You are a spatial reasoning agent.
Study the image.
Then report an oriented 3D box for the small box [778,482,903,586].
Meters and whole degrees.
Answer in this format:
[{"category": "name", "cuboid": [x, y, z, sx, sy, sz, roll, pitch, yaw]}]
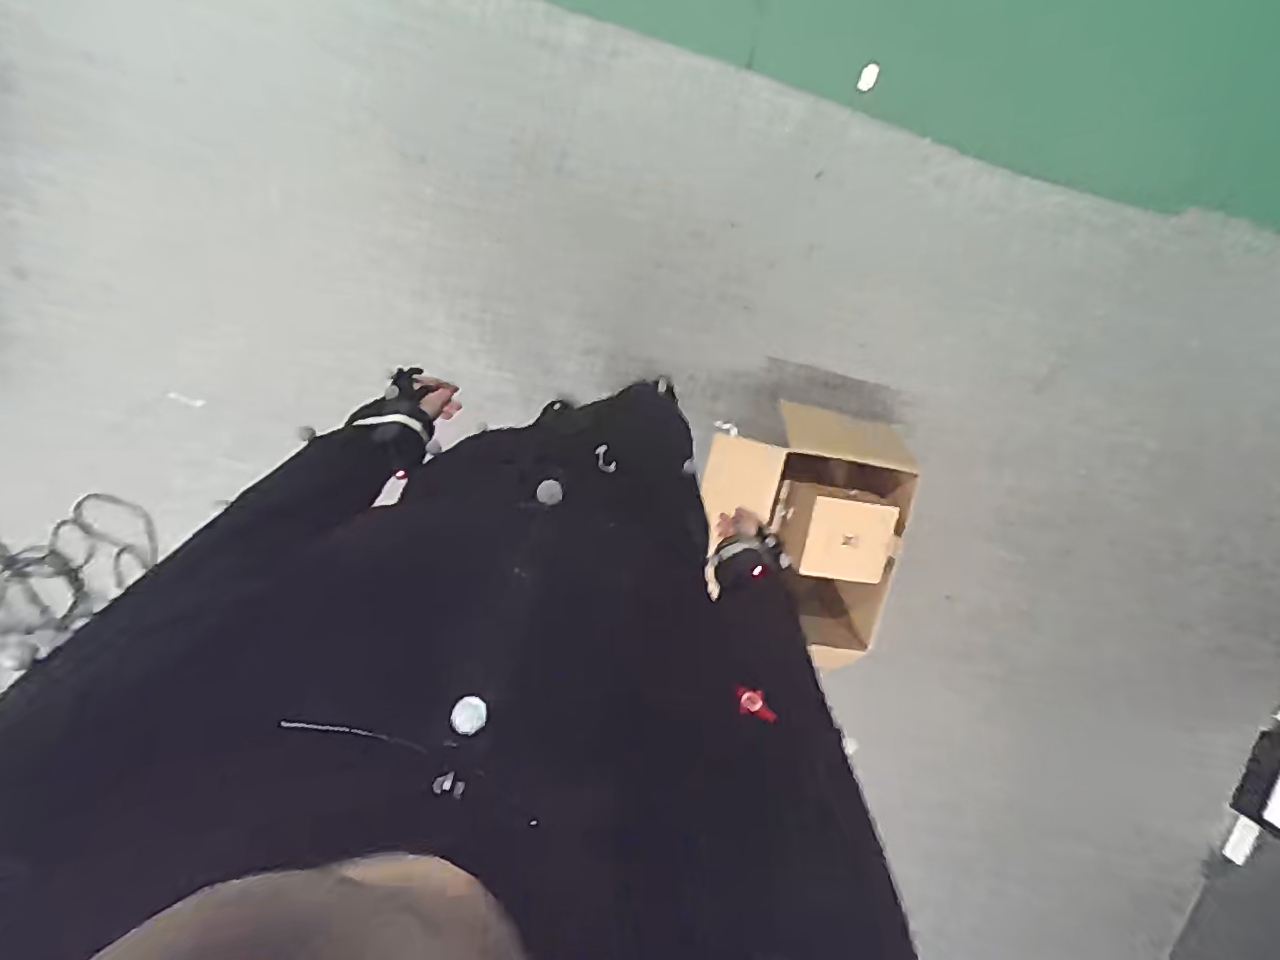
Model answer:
[{"category": "small box", "cuboid": [0.416, 0.107, 1.149, 0.179, 0.176, 0.168, 9, 101, -6]}]
